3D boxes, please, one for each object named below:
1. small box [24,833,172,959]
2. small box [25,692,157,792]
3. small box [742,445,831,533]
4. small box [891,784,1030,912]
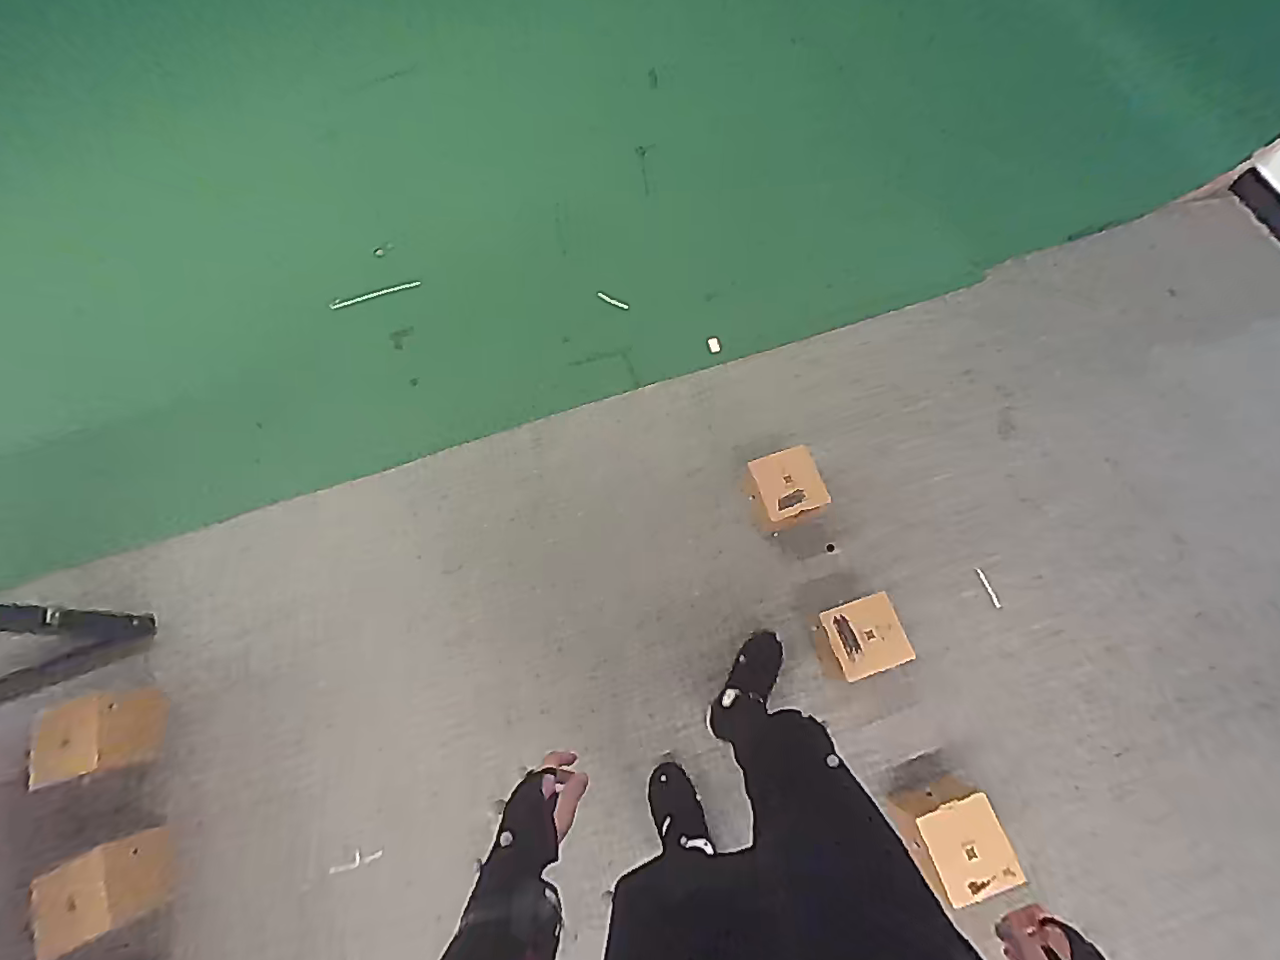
[{"bbox_3d":[-1.230,0.943,1.236,0.168,0.176,0.179,-25,72,-5],"label":"small box"},{"bbox_3d":[-1.357,0.643,1.348,0.168,0.176,0.179,-18,70,-3],"label":"small box"},{"bbox_3d":[0.389,0.034,1.463,0.168,0.176,0.179,-18,70,-4],"label":"small box"},{"bbox_3d":[0.687,0.789,1.184,0.168,0.176,0.179,-18,70,-3],"label":"small box"}]
